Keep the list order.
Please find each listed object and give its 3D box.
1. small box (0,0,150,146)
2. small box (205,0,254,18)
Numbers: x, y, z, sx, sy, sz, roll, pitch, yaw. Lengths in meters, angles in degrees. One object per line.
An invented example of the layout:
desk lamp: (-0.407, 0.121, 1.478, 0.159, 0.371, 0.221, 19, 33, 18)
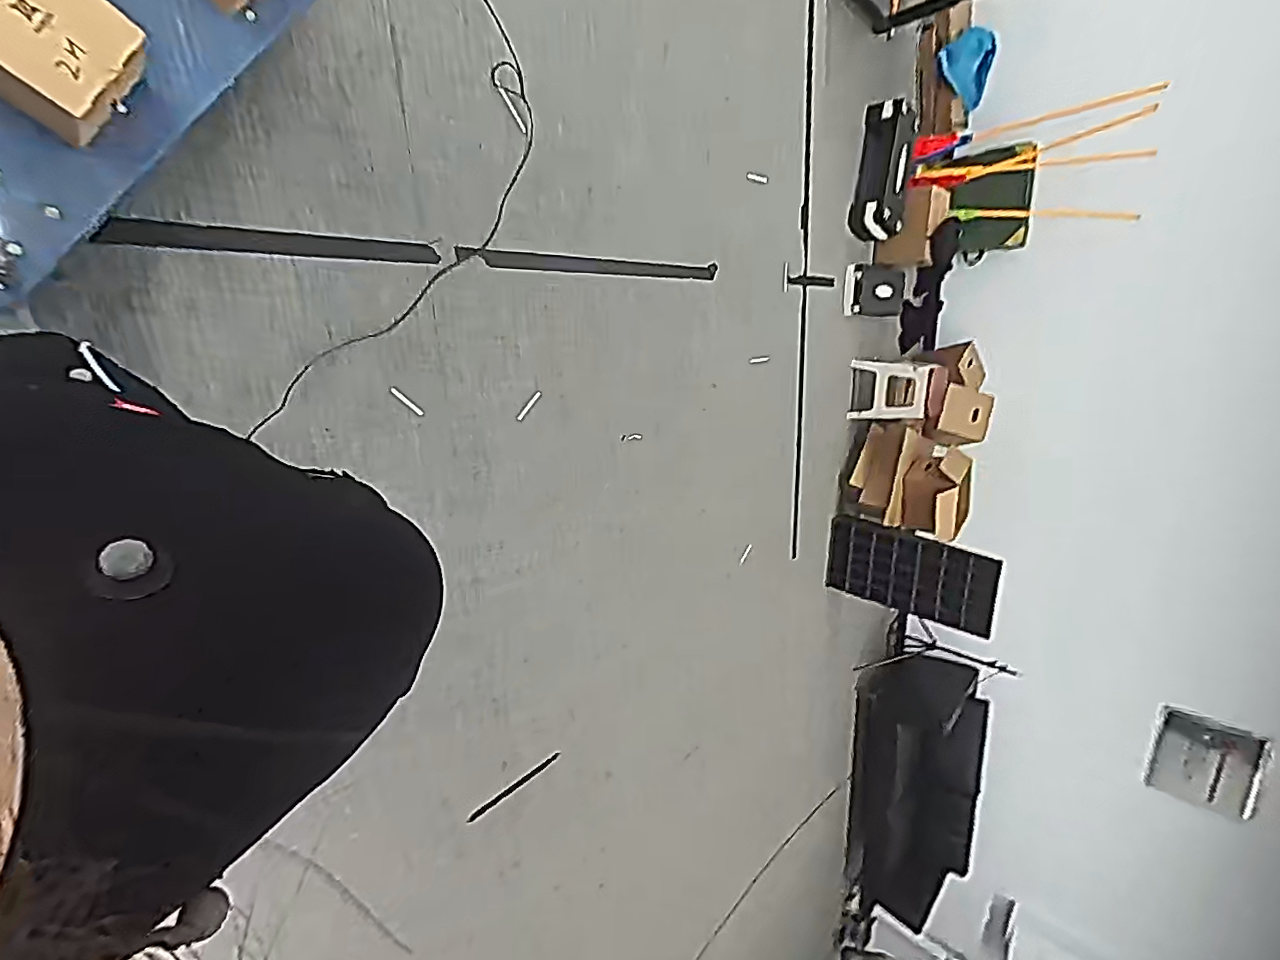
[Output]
small box: (-0.857, -0.621, 0.770, 0.179, 0.176, 0.168, 36, 74, -44)
small box: (-0.683, -0.917, 0.880, 0.168, 0.176, 0.179, 43, 69, -42)
